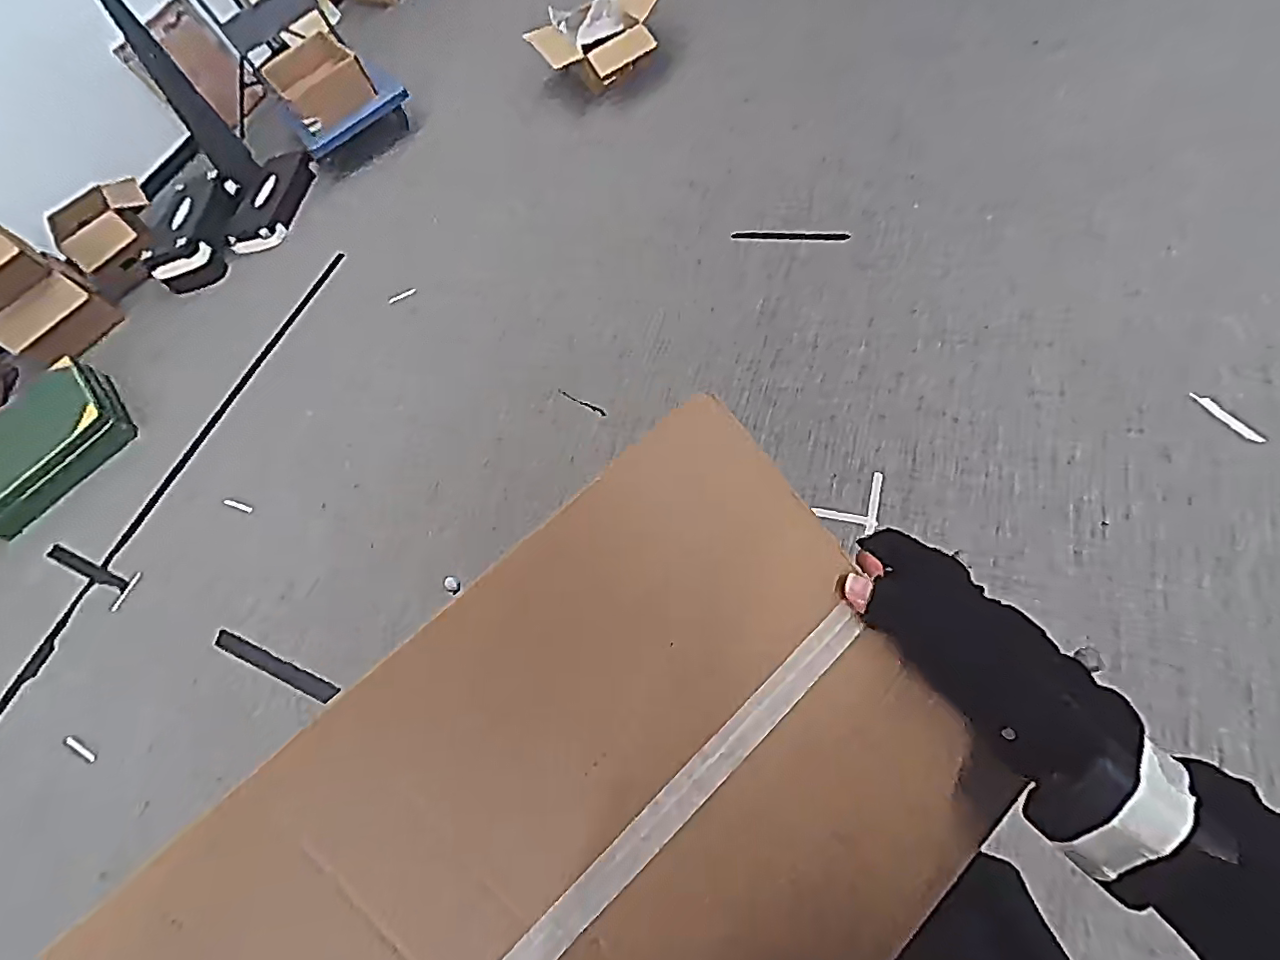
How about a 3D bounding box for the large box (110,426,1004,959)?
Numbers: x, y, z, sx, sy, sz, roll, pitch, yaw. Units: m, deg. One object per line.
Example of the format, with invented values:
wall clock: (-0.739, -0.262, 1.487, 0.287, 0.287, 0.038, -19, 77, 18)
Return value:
large box: (-0.034, 0.219, 0.440, 0.408, 0.320, 0.320, -42, 93, -12)
